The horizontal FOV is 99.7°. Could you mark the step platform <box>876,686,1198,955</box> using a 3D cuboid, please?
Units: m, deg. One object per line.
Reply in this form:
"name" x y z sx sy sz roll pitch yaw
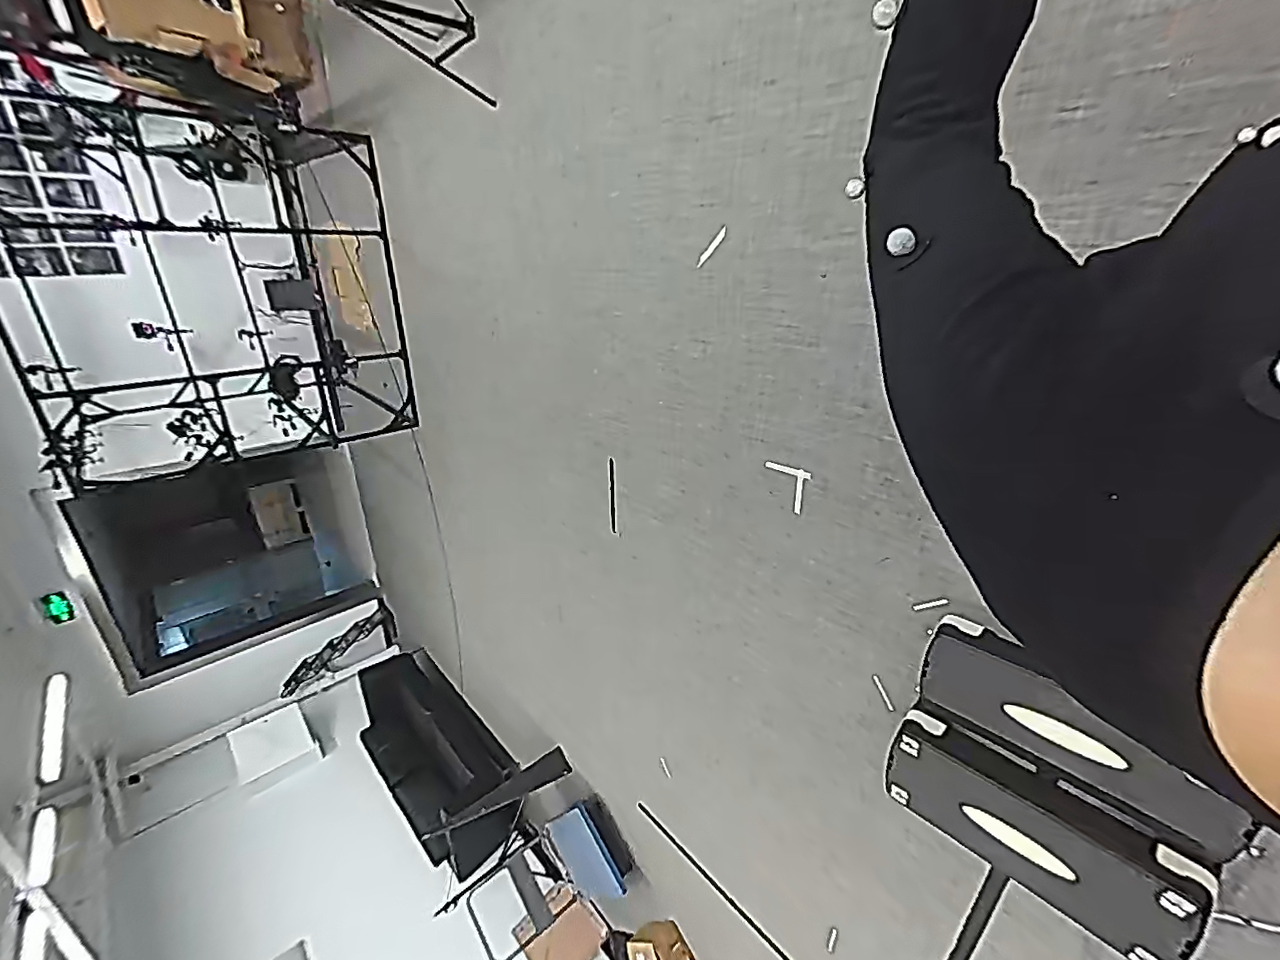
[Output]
"step platform" 1.005 0.873 1.461 0.684 0.204 0.286 22 122 45
